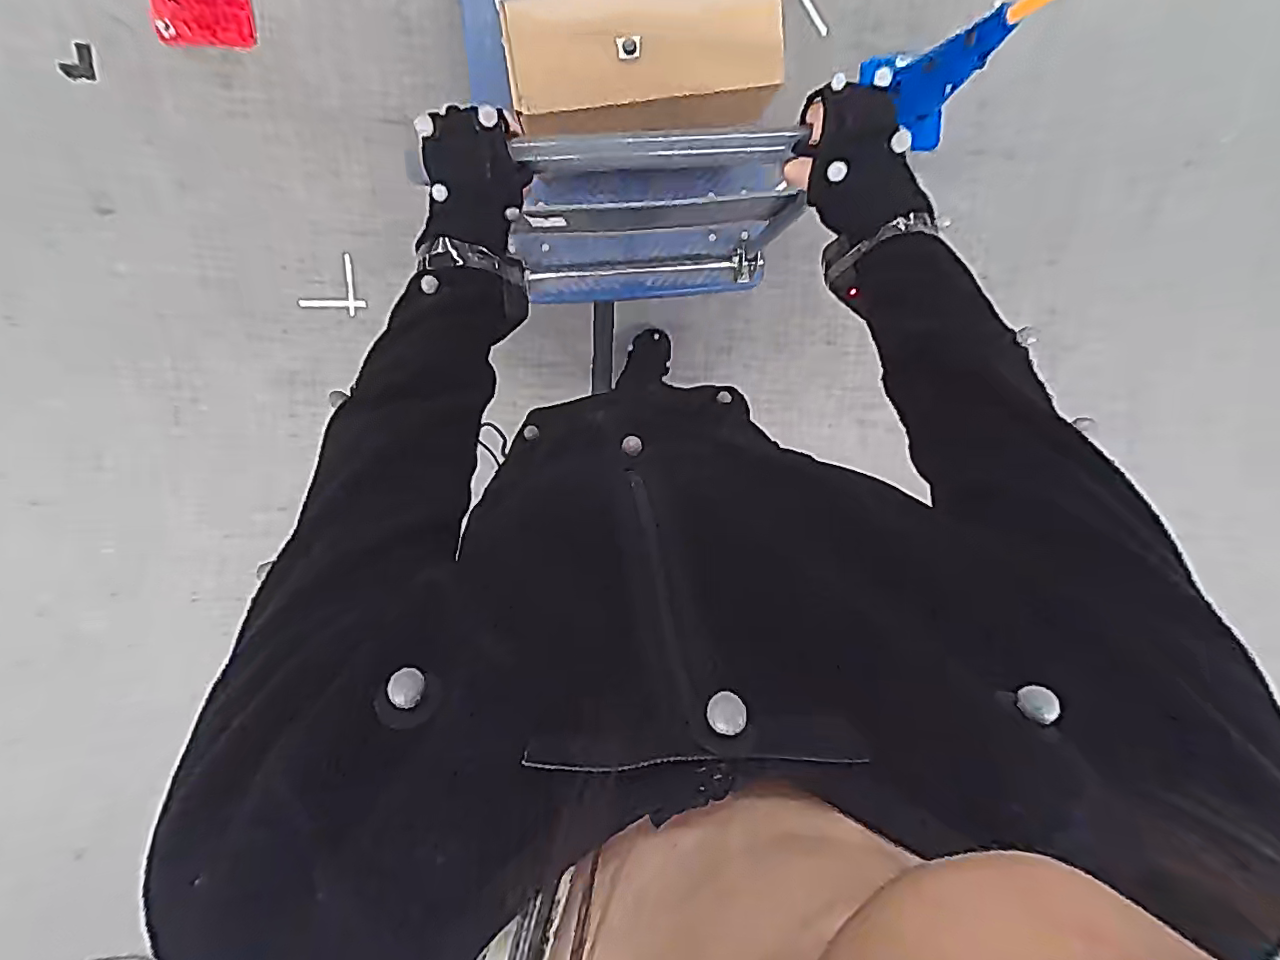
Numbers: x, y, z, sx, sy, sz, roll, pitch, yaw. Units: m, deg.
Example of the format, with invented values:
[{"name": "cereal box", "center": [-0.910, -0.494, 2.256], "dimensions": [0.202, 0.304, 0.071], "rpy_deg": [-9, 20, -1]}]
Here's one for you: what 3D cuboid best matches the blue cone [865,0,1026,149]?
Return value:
[{"name": "blue cone", "center": [0.632, -0.848, 1.109], "dimensions": [0.193, 0.380, 0.192], "rpy_deg": [-3, 103, -4]}]
